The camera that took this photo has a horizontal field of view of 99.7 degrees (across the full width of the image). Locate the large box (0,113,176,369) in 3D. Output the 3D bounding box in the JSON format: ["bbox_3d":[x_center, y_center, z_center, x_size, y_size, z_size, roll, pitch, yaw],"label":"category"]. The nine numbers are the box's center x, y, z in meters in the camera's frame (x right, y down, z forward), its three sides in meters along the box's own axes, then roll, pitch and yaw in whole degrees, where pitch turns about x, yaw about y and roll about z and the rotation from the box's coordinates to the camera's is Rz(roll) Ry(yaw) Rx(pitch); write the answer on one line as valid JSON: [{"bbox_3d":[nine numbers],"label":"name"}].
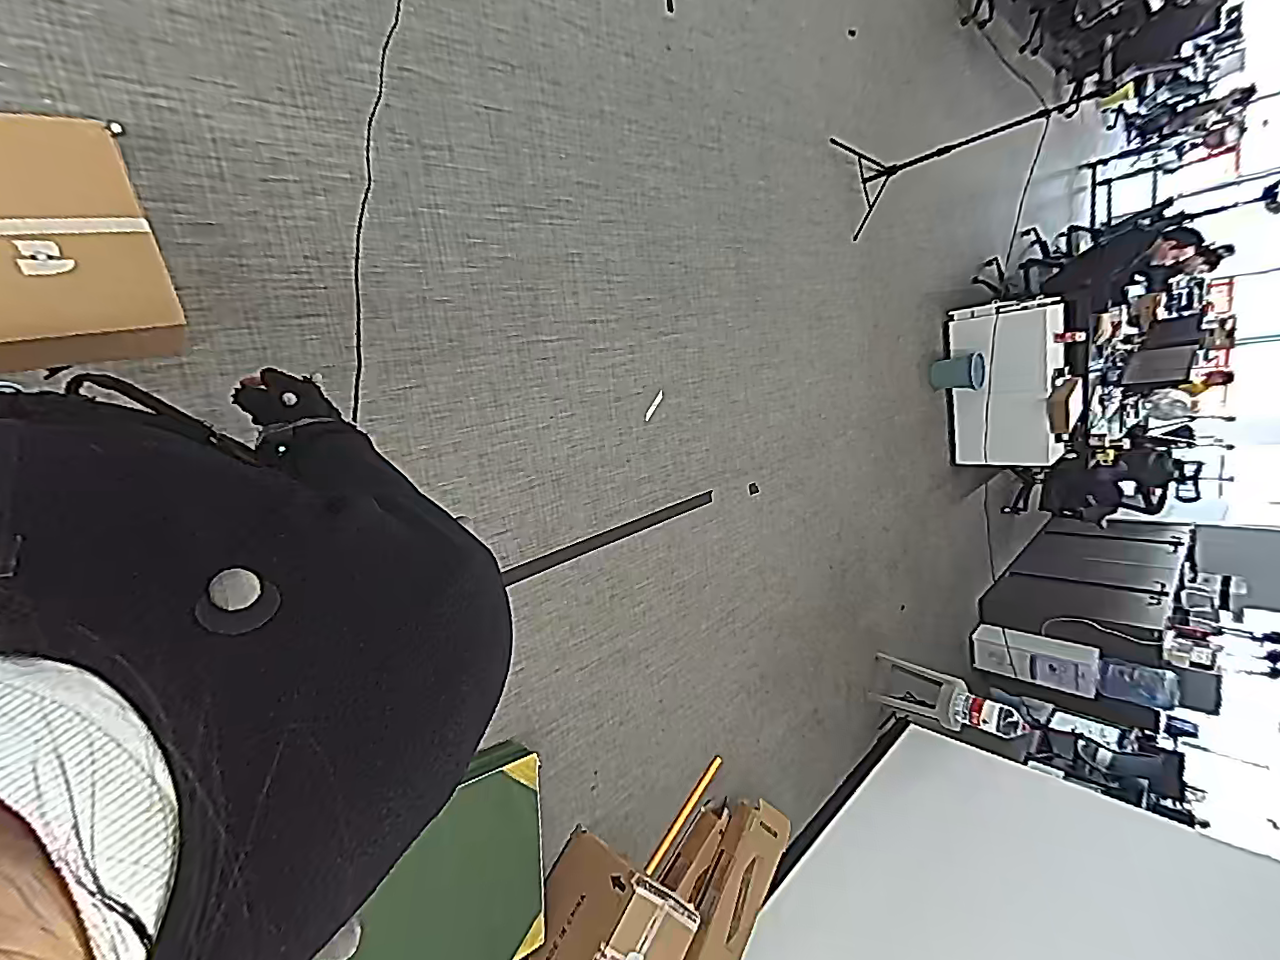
[{"bbox_3d":[-1.054,-0.358,0.866,0.408,0.320,0.320,-23,107,-39],"label":"large box"}]
